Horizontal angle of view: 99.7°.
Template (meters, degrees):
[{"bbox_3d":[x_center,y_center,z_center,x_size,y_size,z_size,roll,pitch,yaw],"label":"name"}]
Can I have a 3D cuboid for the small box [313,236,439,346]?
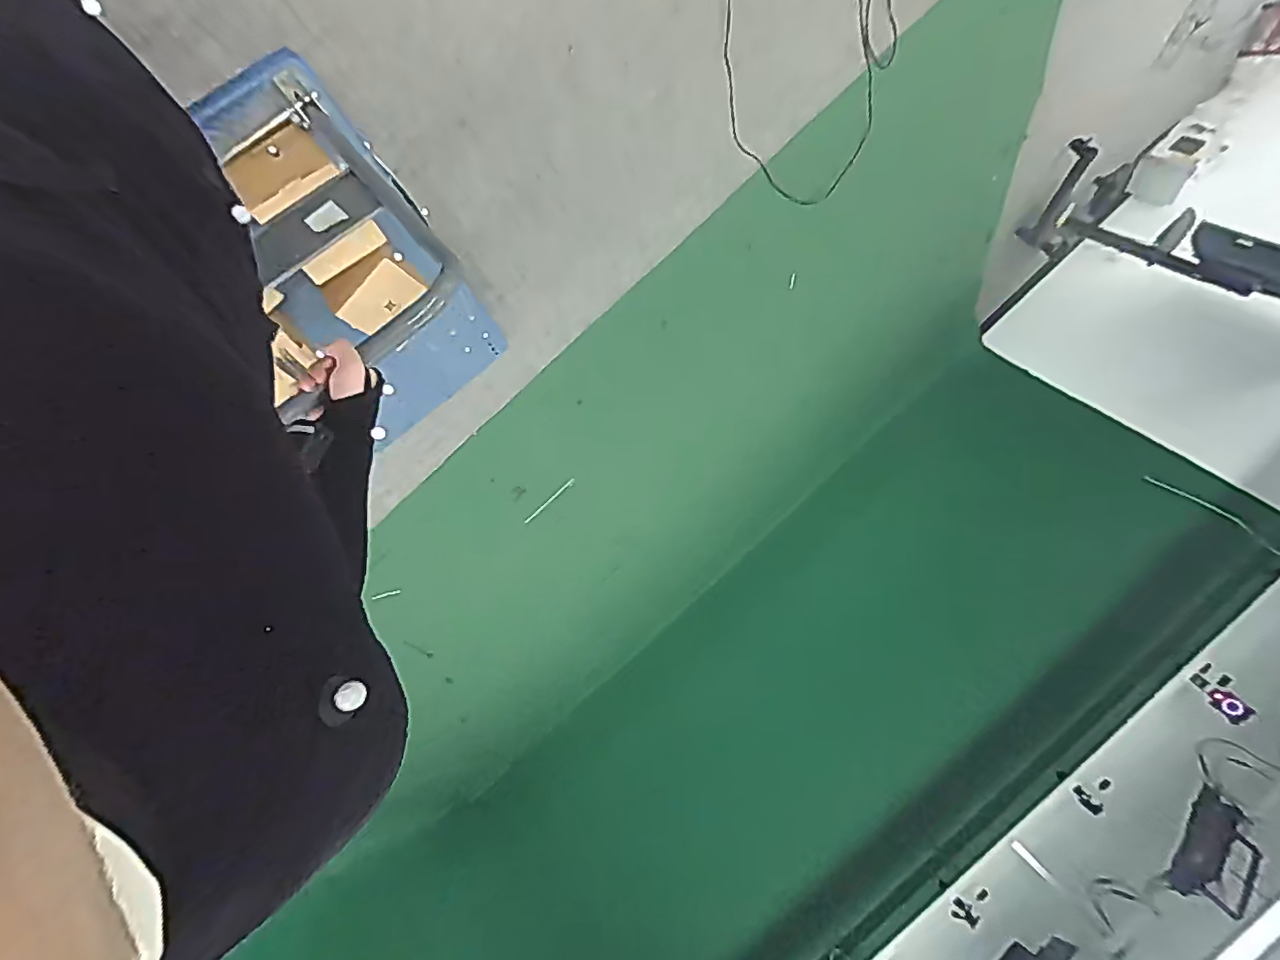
[{"bbox_3d":[-0.602,-0.445,1.220,0.168,0.176,0.179,-44,155,6],"label":"small box"}]

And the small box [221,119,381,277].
[{"bbox_3d":[-0.639,-0.535,1.027,0.168,0.176,0.179,-37,155,-9],"label":"small box"}]
